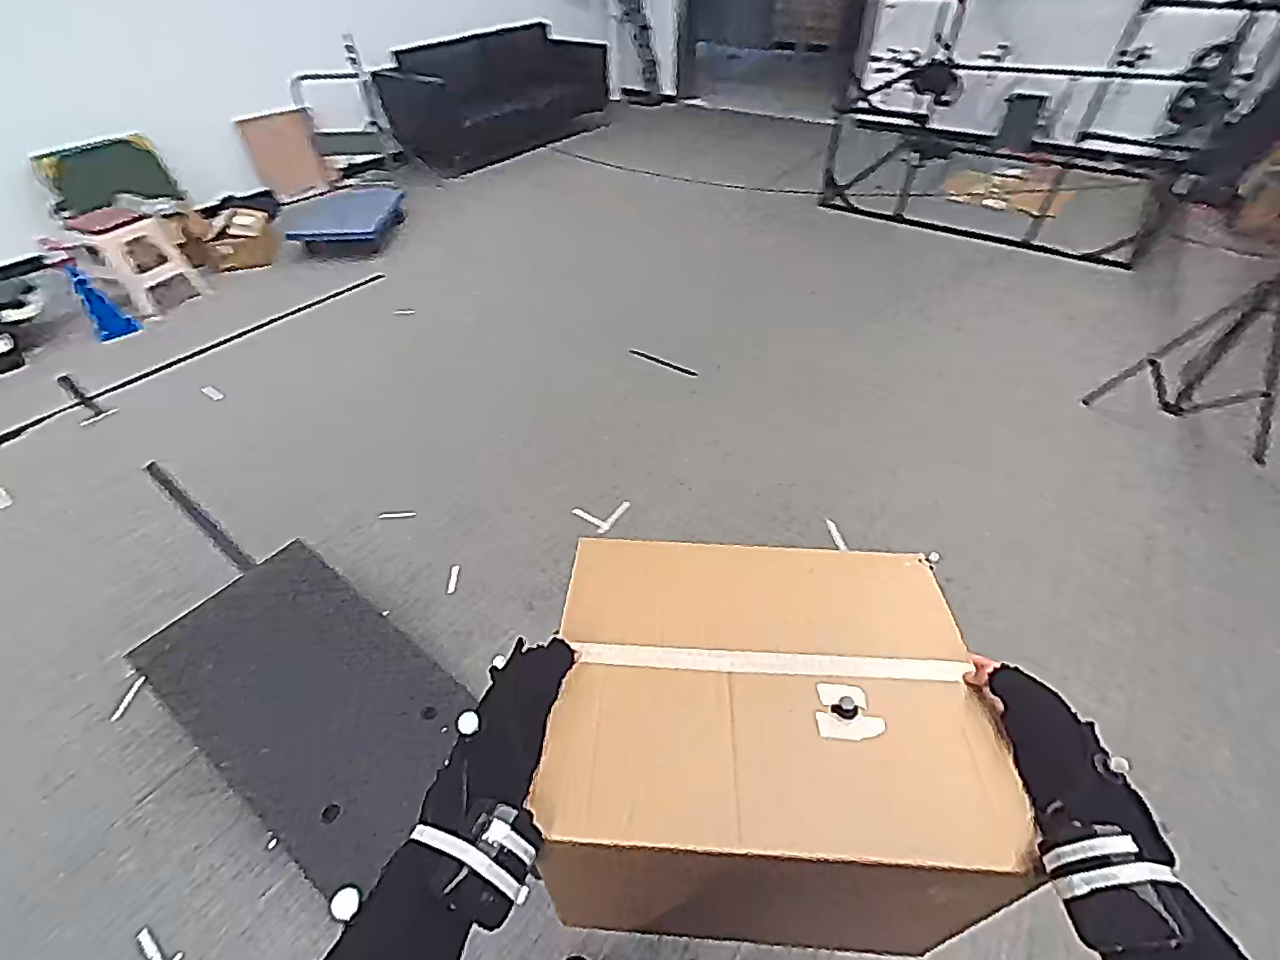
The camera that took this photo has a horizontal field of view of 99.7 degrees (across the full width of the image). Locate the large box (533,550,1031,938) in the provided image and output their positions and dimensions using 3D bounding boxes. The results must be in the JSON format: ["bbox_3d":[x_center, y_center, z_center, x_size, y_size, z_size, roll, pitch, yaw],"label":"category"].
[{"bbox_3d":[0.114,0.301,0.634,0.408,0.320,0.320,2,40,2],"label":"large box"}]

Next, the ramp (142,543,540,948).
[{"bbox_3d":[-0.787,0.599,1.428,0.991,0.206,0.509,25,50,24],"label":"ramp"}]
